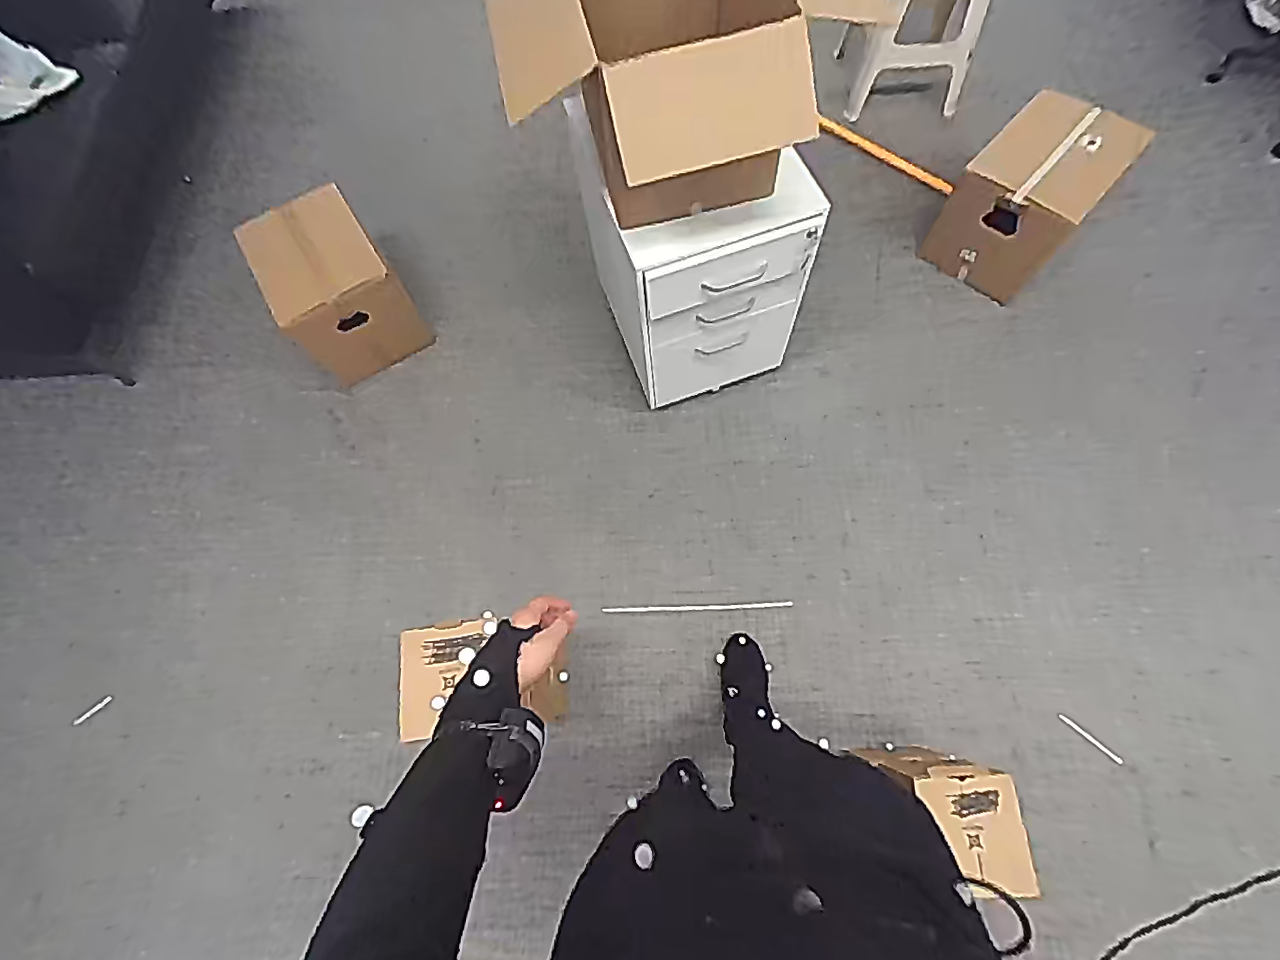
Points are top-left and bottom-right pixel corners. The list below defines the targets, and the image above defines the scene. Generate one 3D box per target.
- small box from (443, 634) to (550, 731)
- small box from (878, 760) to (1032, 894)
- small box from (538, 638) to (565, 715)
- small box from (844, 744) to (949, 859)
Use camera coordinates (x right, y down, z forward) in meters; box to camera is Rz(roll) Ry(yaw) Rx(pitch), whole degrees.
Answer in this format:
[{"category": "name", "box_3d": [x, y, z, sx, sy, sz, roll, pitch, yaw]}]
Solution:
[{"category": "small box", "box_3d": [-0.286, 0.416, 1.117, 0.179, 0.176, 0.168, -7, 68, 4]}, {"category": "small box", "box_3d": [0.546, 0.607, 0.968, 0.168, 0.176, 0.179, -4, 70, 4]}, {"category": "small box", "box_3d": [-0.274, 0.464, 1.273, 0.179, 0.176, 0.168, -4, 69, 3]}, {"category": "small box", "box_3d": [0.542, 0.659, 1.125, 0.168, 0.176, 0.179, -5, 70, 2]}]
